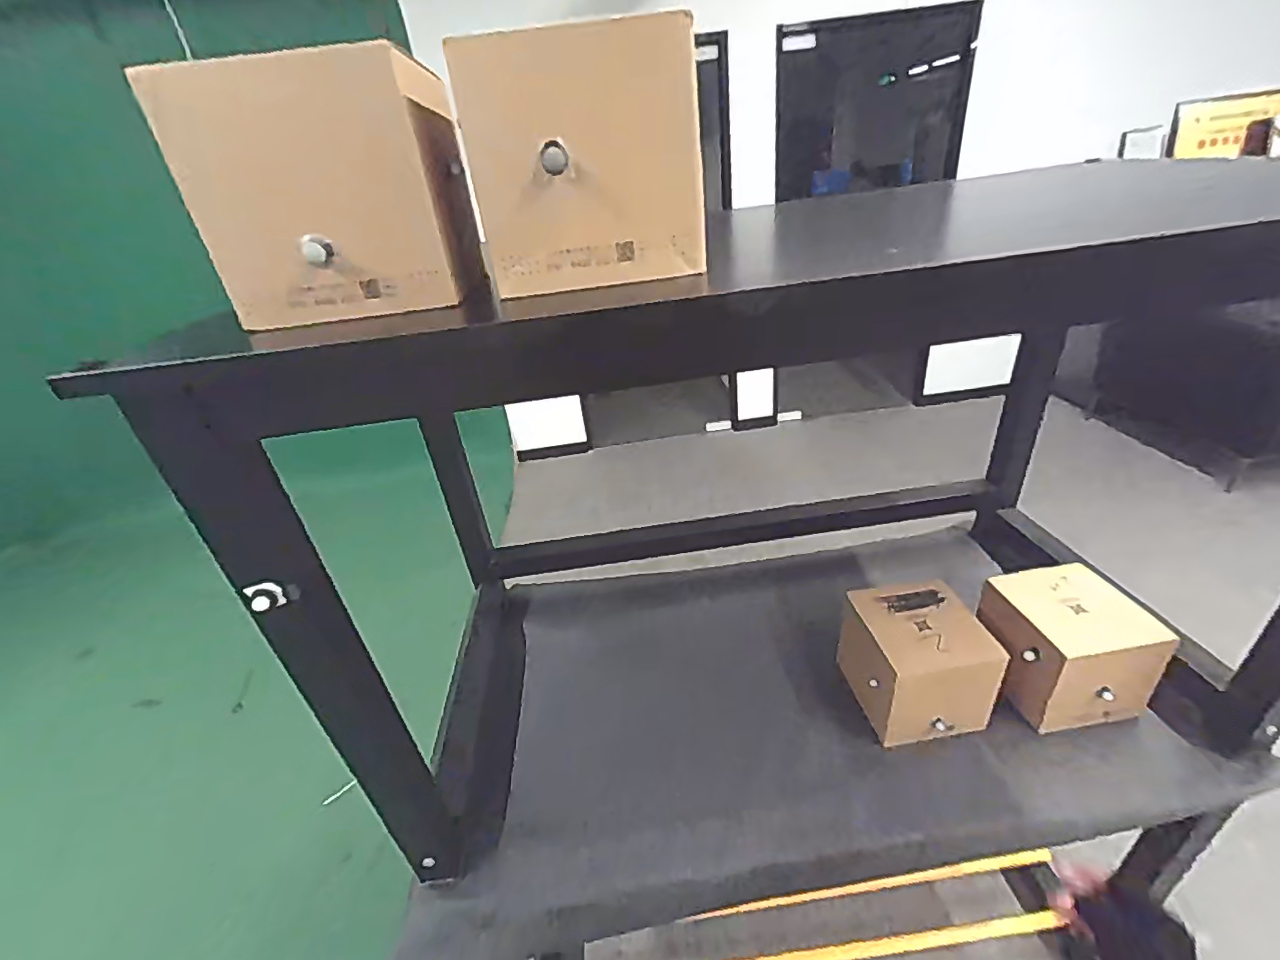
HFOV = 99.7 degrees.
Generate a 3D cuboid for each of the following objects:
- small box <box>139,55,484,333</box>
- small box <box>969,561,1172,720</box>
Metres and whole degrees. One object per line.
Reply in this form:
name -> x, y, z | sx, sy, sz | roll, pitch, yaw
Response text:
small box -> -0.240, -0.233, 0.457 | 0.168, 0.176, 0.179 | -9, 31, -2
small box -> 0.666, 0.258, 0.864 | 0.168, 0.176, 0.179 | -9, 29, -2
